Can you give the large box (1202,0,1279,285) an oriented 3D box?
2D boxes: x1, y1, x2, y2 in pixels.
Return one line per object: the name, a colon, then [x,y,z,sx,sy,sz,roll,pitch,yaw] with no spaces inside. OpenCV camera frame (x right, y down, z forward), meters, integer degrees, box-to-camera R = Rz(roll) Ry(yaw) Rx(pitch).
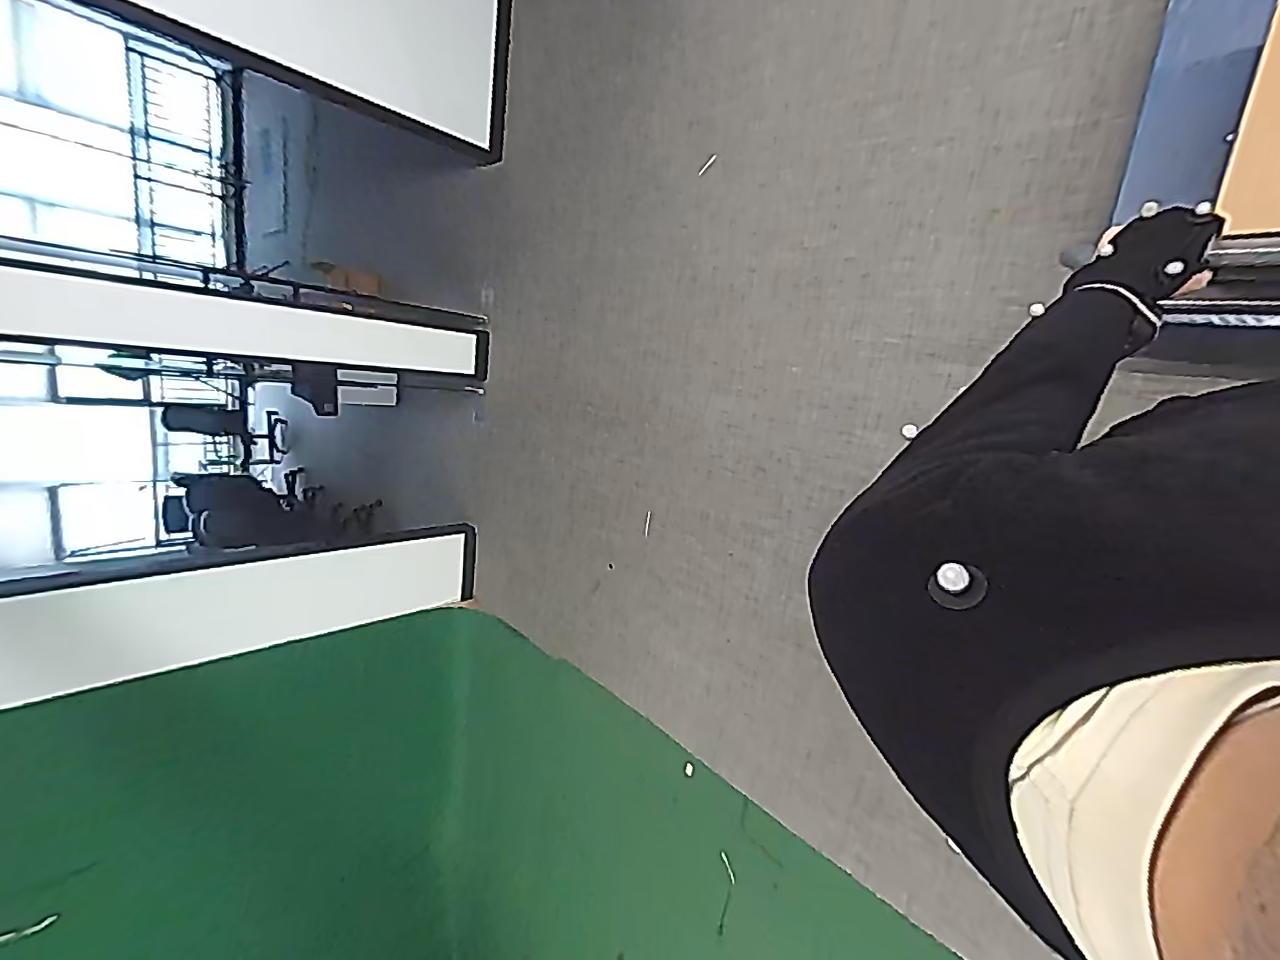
large box: [1.090,-0.531,0.790,0.320,0.320,0.408,16,103,42]
